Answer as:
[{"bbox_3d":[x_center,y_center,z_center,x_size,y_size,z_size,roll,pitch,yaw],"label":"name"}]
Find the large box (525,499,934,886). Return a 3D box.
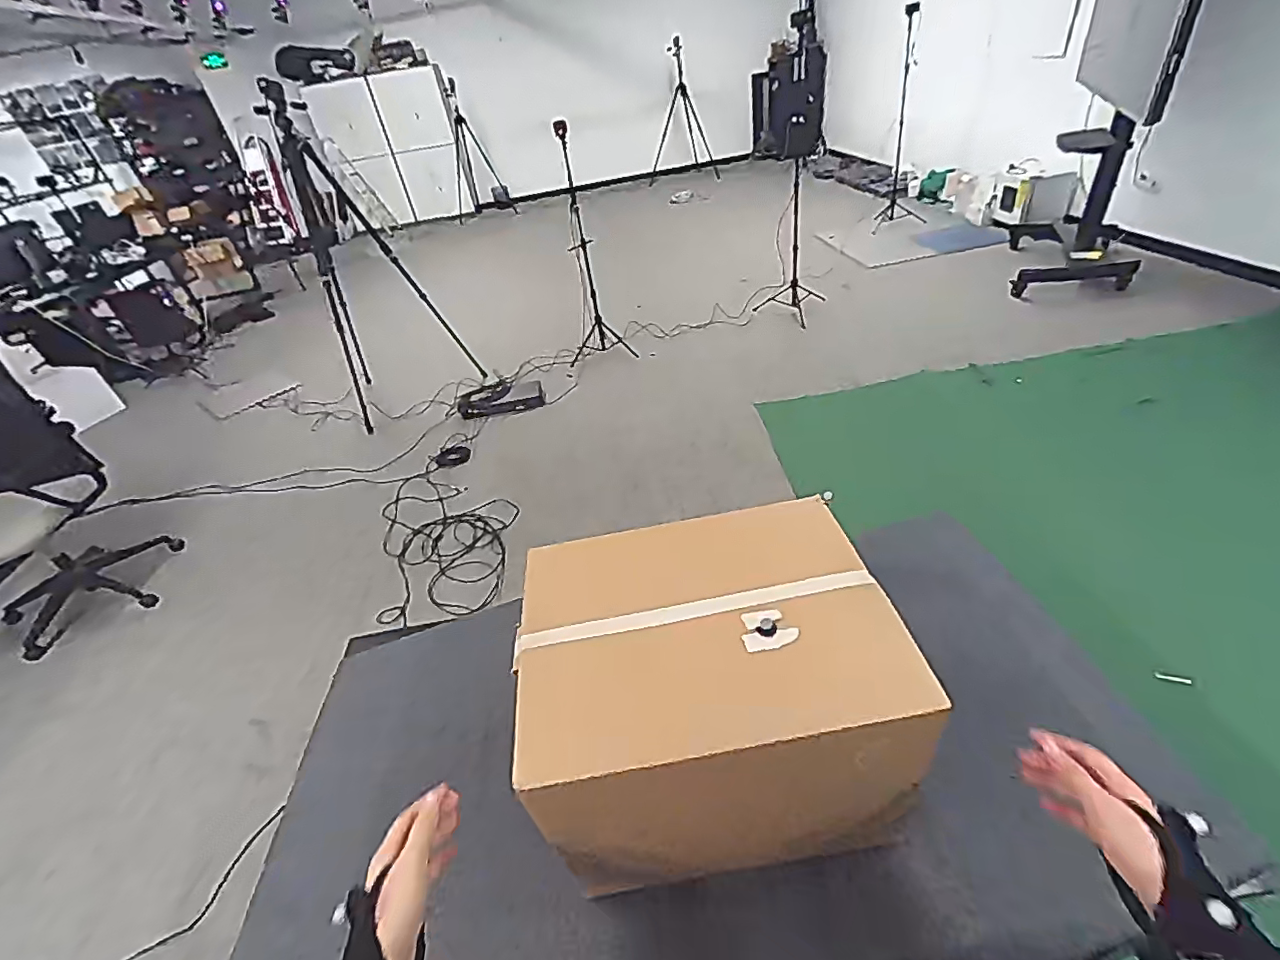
[{"bbox_3d":[0.085,0.269,0.711,0.408,0.320,0.320,-10,38,-1],"label":"large box"}]
